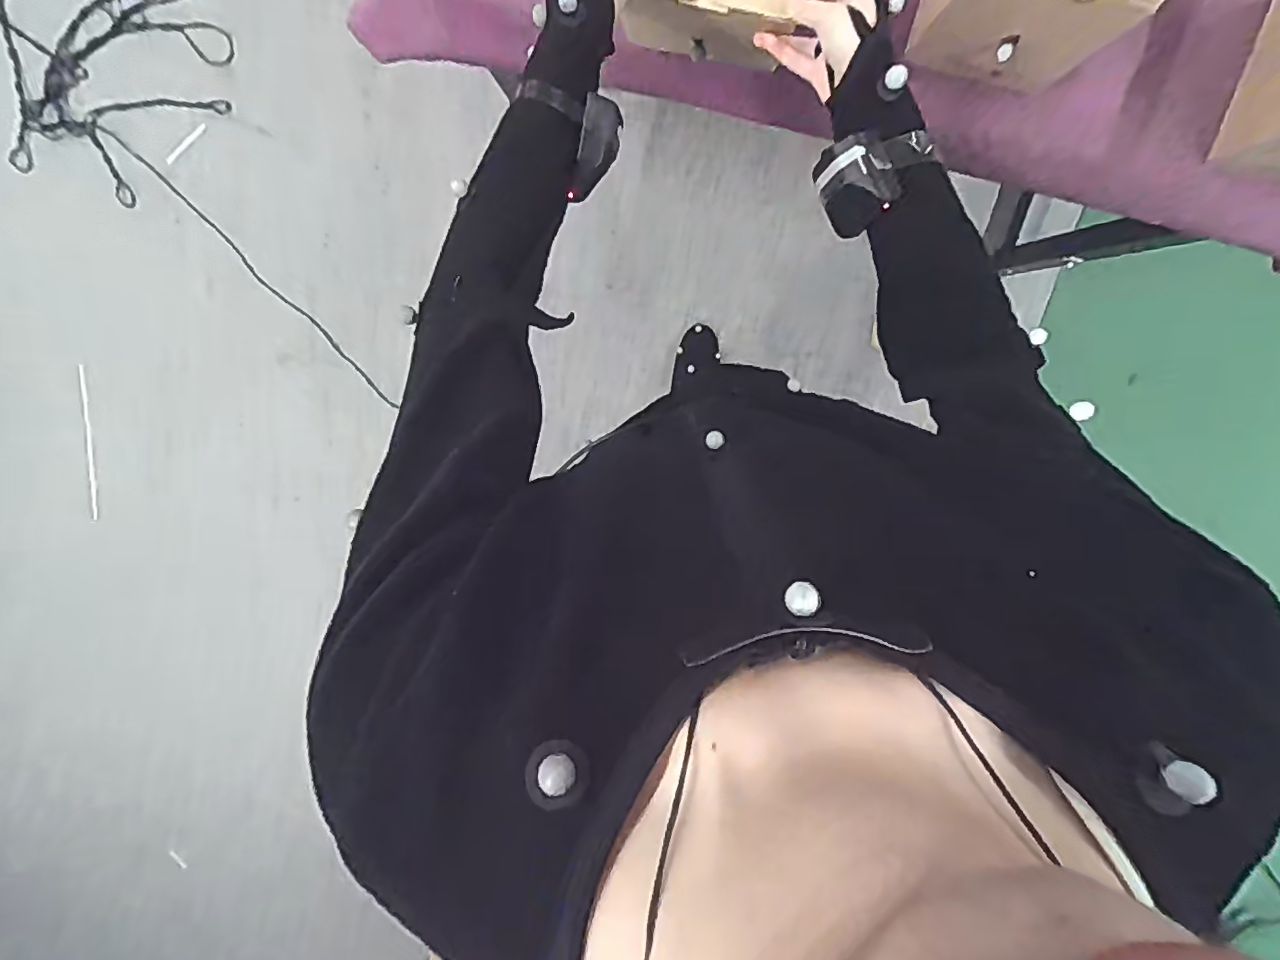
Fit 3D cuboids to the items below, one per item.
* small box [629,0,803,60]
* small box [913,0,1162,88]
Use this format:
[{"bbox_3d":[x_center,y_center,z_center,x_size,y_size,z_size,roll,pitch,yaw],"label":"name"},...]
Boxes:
[{"bbox_3d":[0.078,-0.516,0.484,0.168,0.176,0.179,12,118,0],"label":"small box"},{"bbox_3d":[0.400,-0.529,0.531,0.168,0.176,0.179,14,104,-1],"label":"small box"}]
